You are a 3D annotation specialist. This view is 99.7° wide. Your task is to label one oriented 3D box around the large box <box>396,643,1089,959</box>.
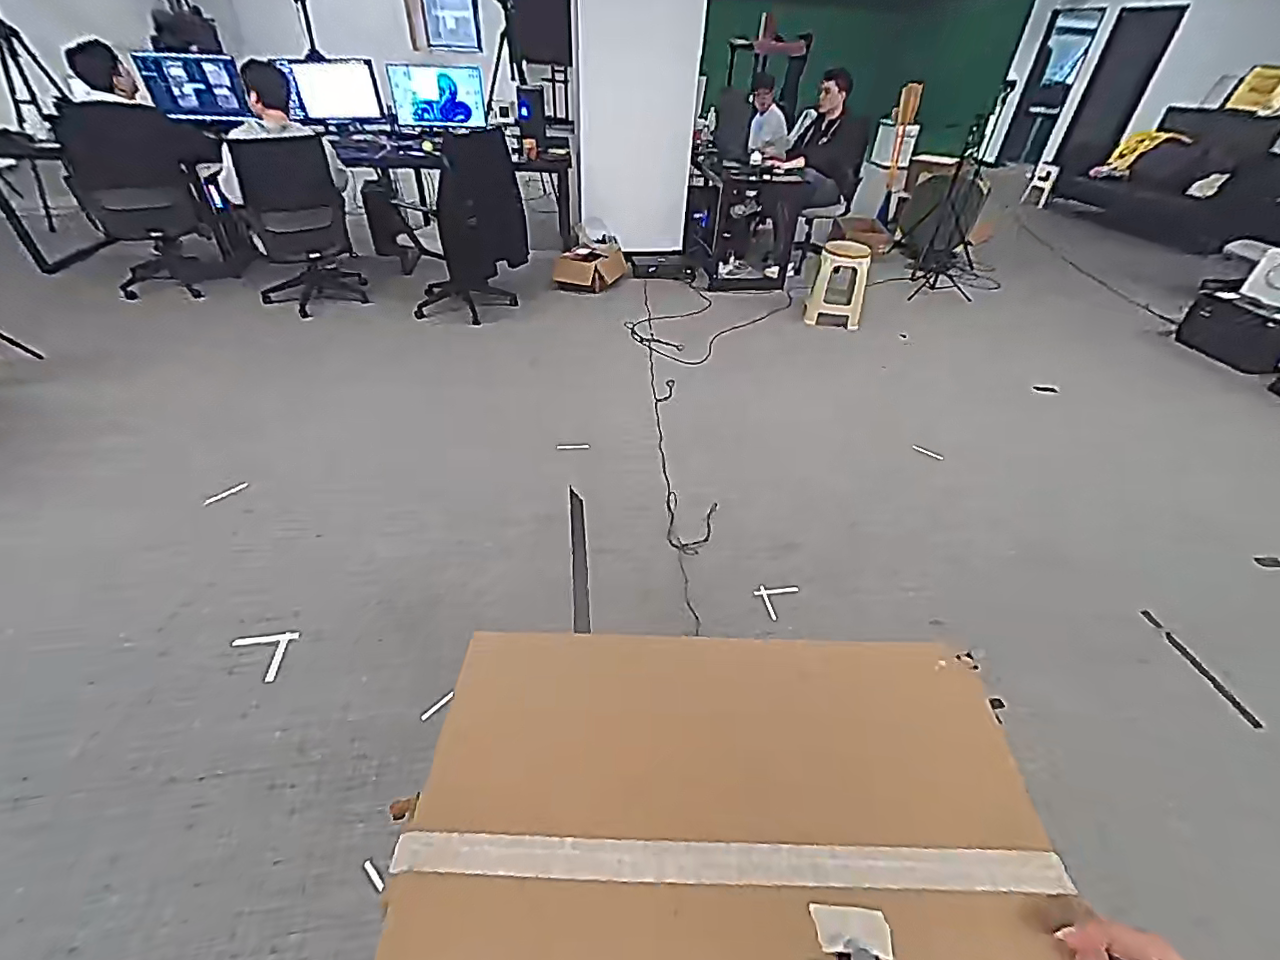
[{"bbox_3d":[0.057,0.352,0.442,0.408,0.320,0.320,1,44,1],"label":"large box"}]
